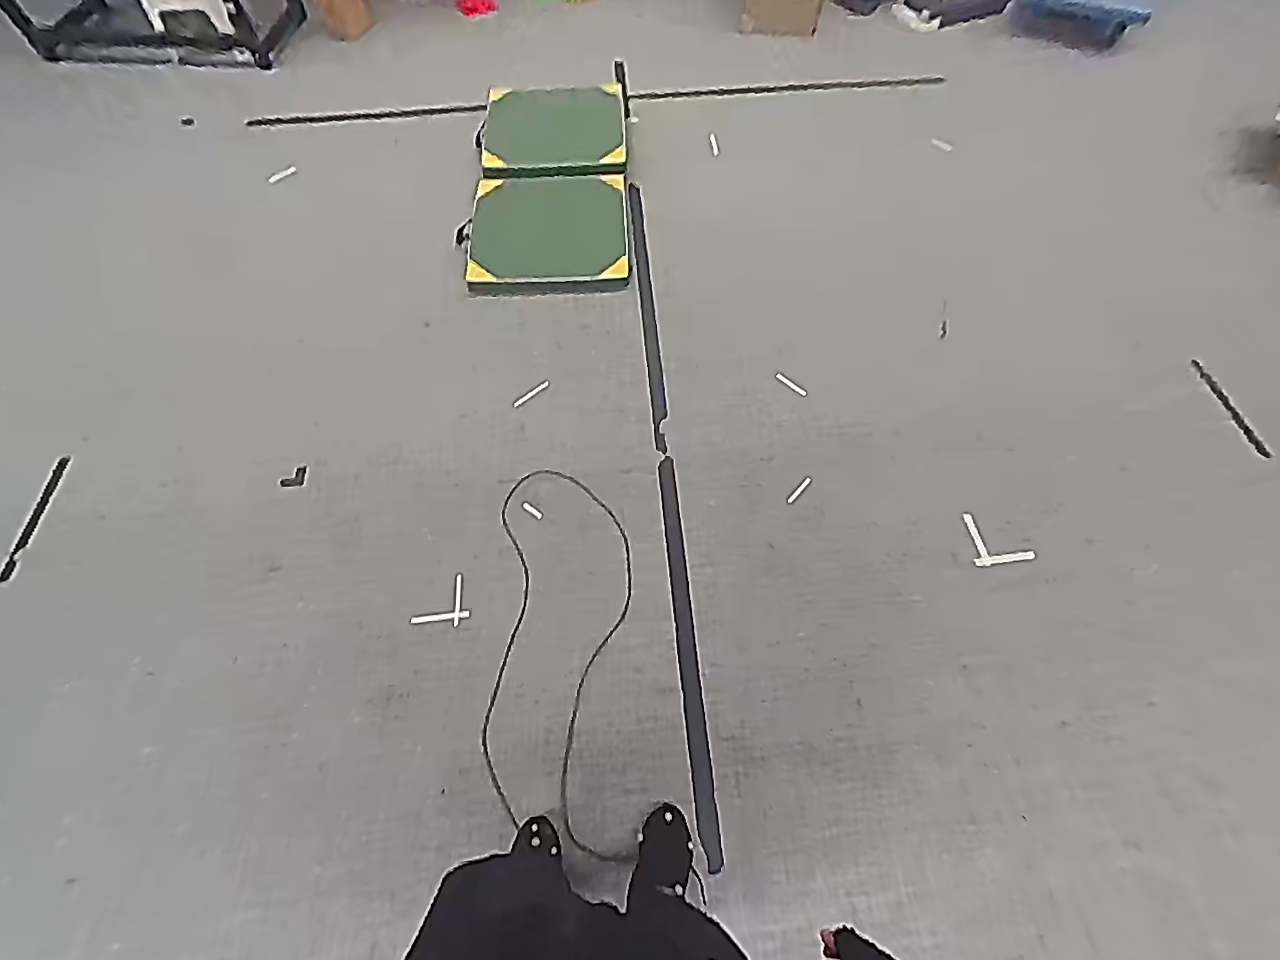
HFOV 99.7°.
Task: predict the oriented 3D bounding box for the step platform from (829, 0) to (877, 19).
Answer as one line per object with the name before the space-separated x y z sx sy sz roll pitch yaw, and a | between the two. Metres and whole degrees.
step platform | 1.411 -2.830 3.026 0.684 0.204 0.286 -31 67 -15
